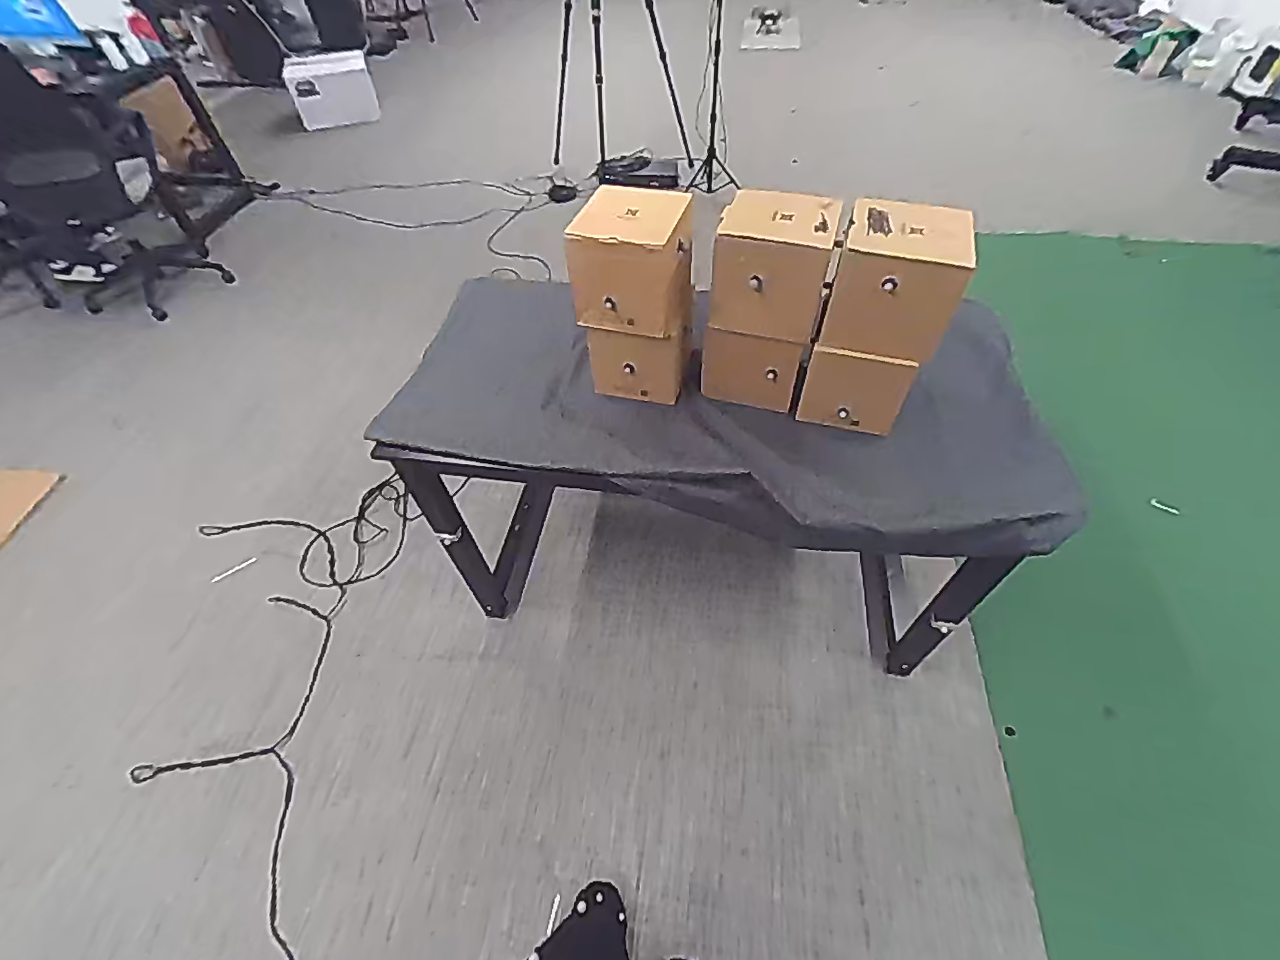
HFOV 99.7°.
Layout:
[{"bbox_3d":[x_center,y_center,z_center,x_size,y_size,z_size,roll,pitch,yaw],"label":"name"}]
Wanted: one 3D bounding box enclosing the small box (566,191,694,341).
[{"bbox_3d":[-0.011,-0.368,0.933,0.168,0.176,0.179,12,54,13],"label":"small box"}]
